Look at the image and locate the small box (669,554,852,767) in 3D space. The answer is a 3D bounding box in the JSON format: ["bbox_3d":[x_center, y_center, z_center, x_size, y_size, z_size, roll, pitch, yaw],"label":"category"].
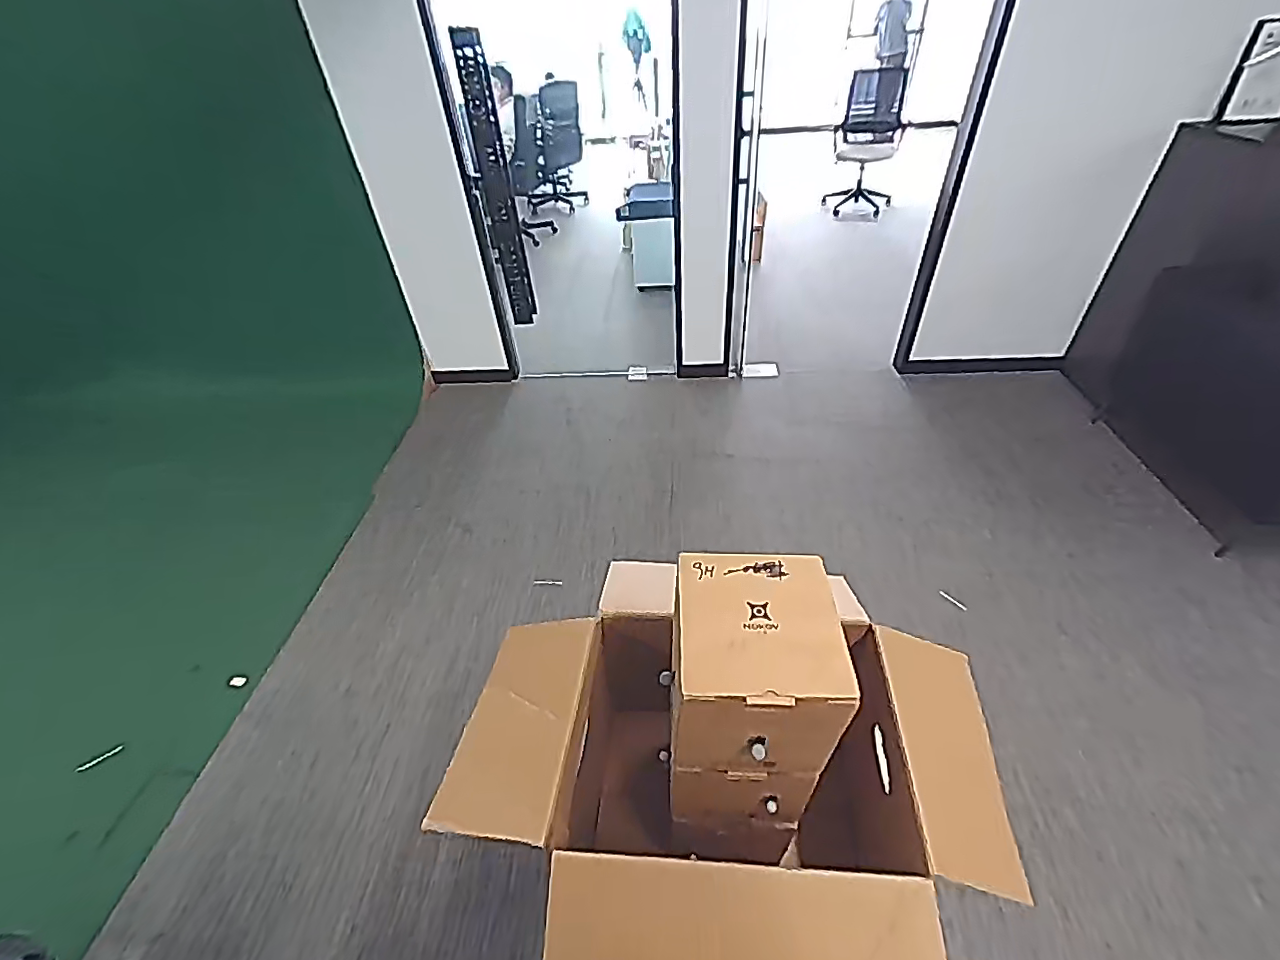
[{"bbox_3d":[0.120,0.205,0.614,0.168,0.176,0.179,2,42,1],"label":"small box"}]
